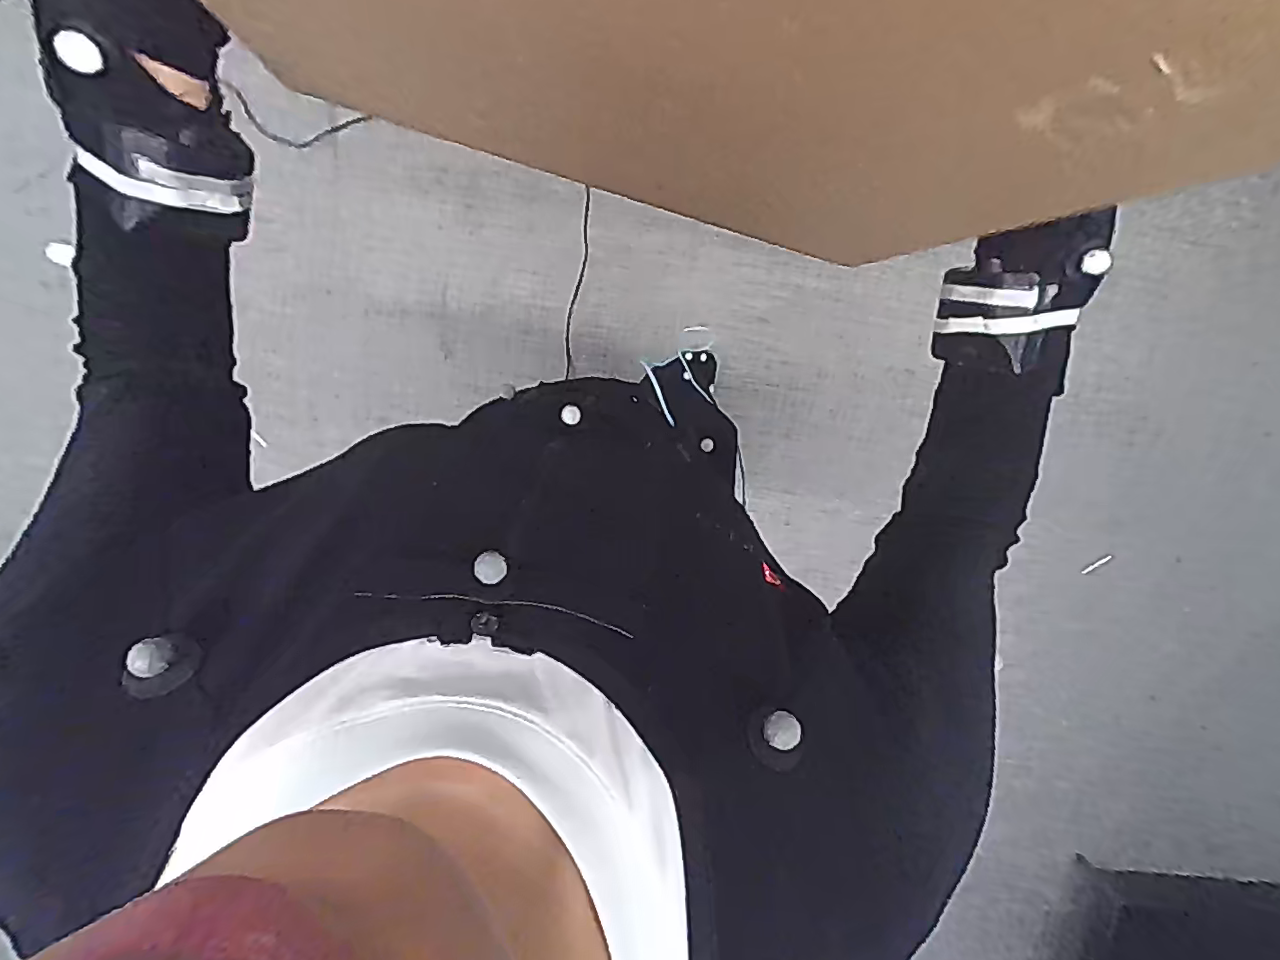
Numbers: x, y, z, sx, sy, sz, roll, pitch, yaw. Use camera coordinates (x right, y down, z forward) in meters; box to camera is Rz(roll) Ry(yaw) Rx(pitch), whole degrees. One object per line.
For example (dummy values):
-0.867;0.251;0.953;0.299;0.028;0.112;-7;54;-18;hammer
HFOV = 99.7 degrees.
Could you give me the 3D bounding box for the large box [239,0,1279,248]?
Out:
0.038;-0.321;0.203;0.408;0.320;0.320;12;102;-13;large box
